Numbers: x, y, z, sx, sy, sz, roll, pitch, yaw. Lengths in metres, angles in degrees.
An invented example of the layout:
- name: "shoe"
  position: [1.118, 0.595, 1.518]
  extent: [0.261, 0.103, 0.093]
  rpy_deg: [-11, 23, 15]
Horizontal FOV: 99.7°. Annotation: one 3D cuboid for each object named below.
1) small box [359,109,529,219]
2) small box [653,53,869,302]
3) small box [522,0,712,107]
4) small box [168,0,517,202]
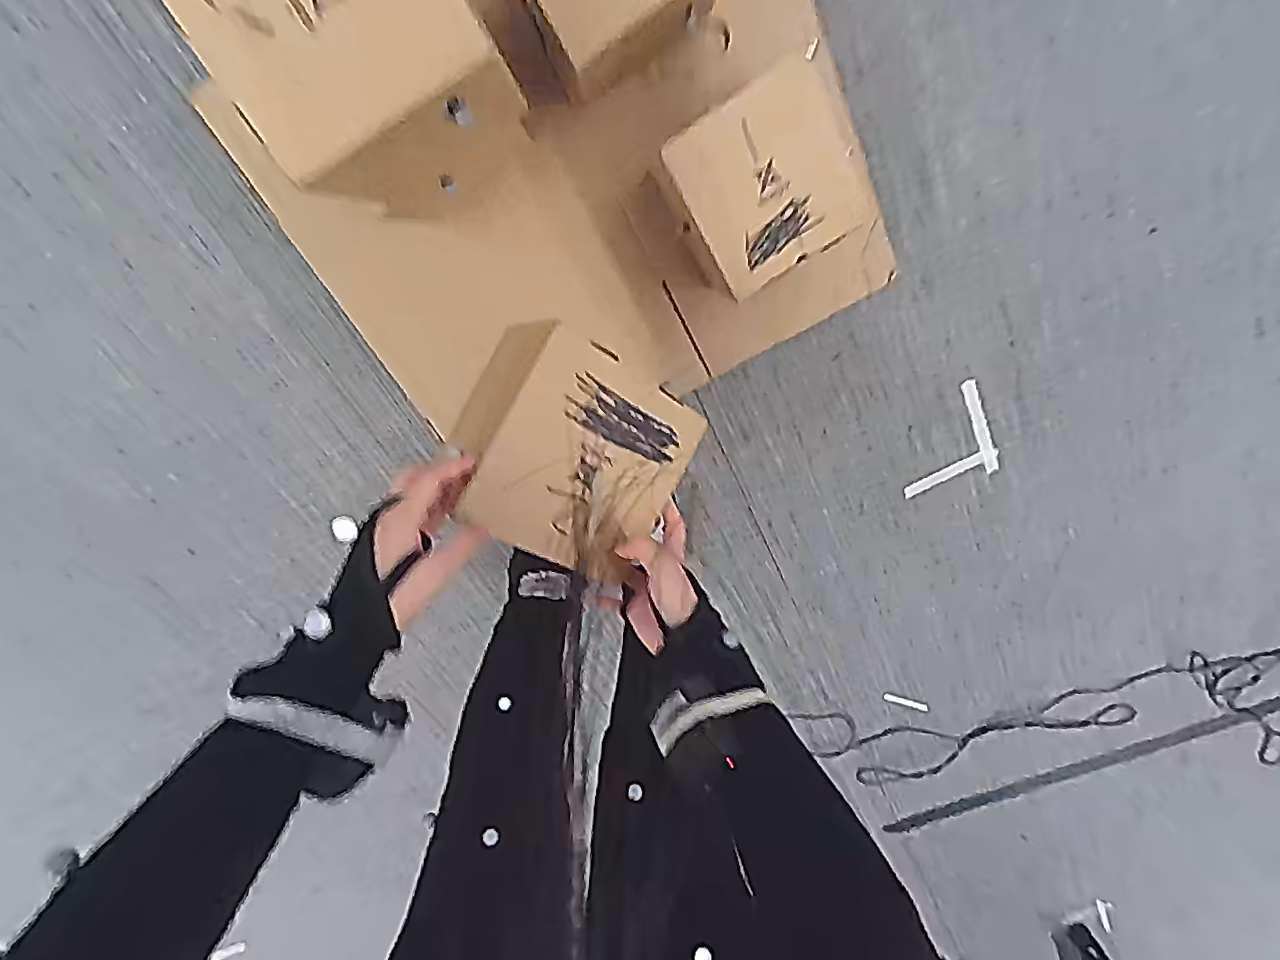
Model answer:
- name: "small box"
  position: [-0.242, -0.402, 0.581]
  extent: [0.179, 0.176, 0.168]
  rpy_deg: [-31, 112, 11]
- name: "small box"
  position: [0.129, -0.336, 0.631]
  extent: [0.168, 0.176, 0.179]
  rpy_deg: [-31, 111, 10]
- name: "small box"
  position: [-0.032, -0.523, 0.543]
  extent: [0.179, 0.176, 0.168]
  rpy_deg: [-31, 111, 11]
- name: "small box"
  position: [-0.213, -0.346, 0.426]
  extent: [0.179, 0.176, 0.168]
  rpy_deg: [-28, 111, 9]
